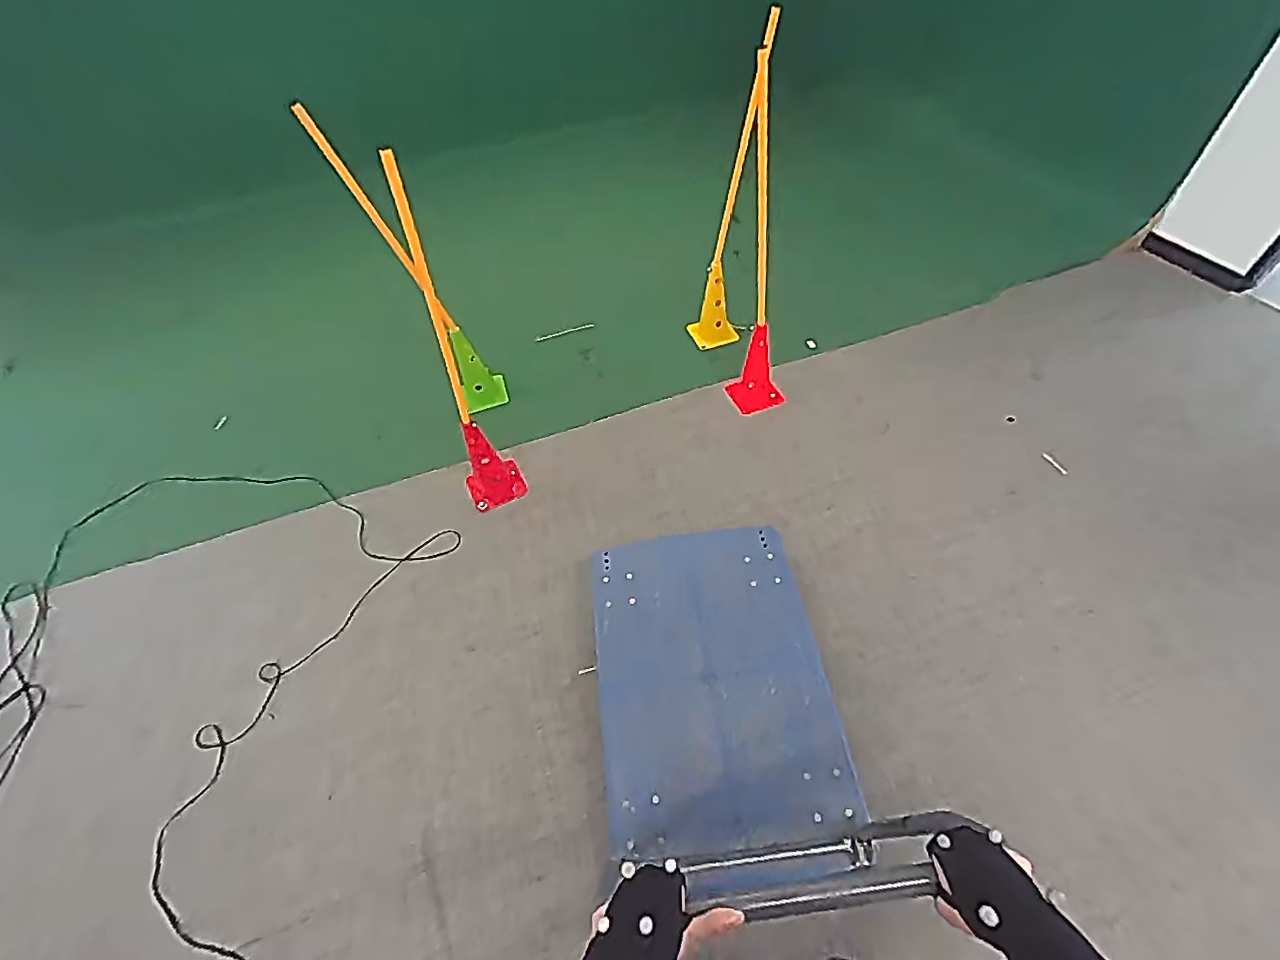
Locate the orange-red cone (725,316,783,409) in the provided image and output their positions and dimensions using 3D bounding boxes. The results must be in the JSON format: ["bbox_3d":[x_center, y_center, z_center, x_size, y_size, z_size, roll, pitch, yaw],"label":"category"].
[{"bbox_3d":[0.461,-0.485,2.131,0.198,0.360,0.199,-17,50,-9],"label":"orange-red cone"}]

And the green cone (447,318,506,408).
[{"bbox_3d":[-0.721,-0.512,2.269,0.200,0.368,0.202,-18,51,-8],"label":"green cone"}]
